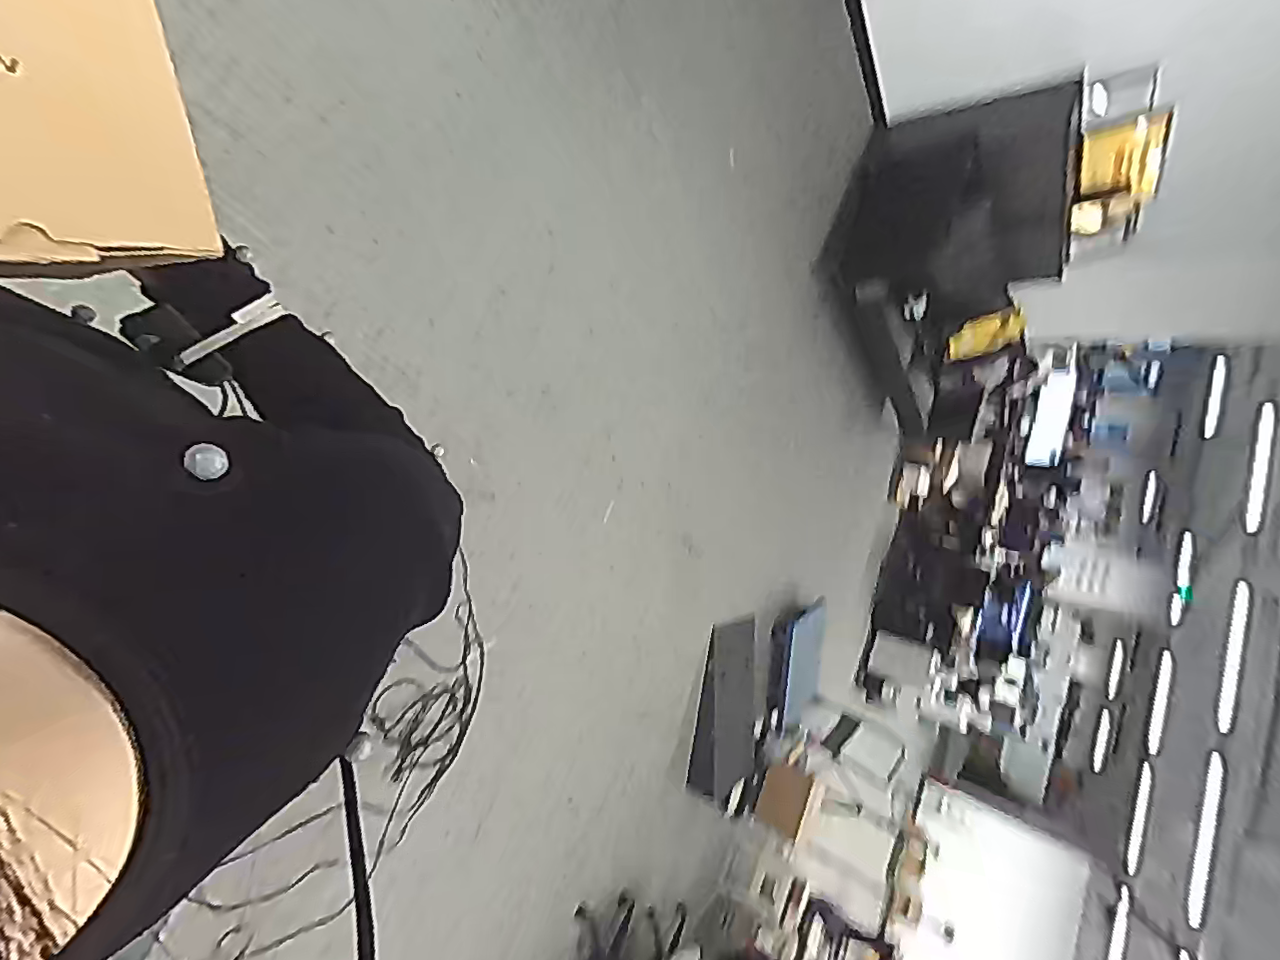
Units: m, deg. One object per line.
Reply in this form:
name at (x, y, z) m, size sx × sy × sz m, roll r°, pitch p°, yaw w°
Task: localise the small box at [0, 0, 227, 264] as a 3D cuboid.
small box at (-0.338, -0.198, 0.235) m, size 0.168 × 0.176 × 0.179 m, roll -37°, pitch 129°, yaw -61°
